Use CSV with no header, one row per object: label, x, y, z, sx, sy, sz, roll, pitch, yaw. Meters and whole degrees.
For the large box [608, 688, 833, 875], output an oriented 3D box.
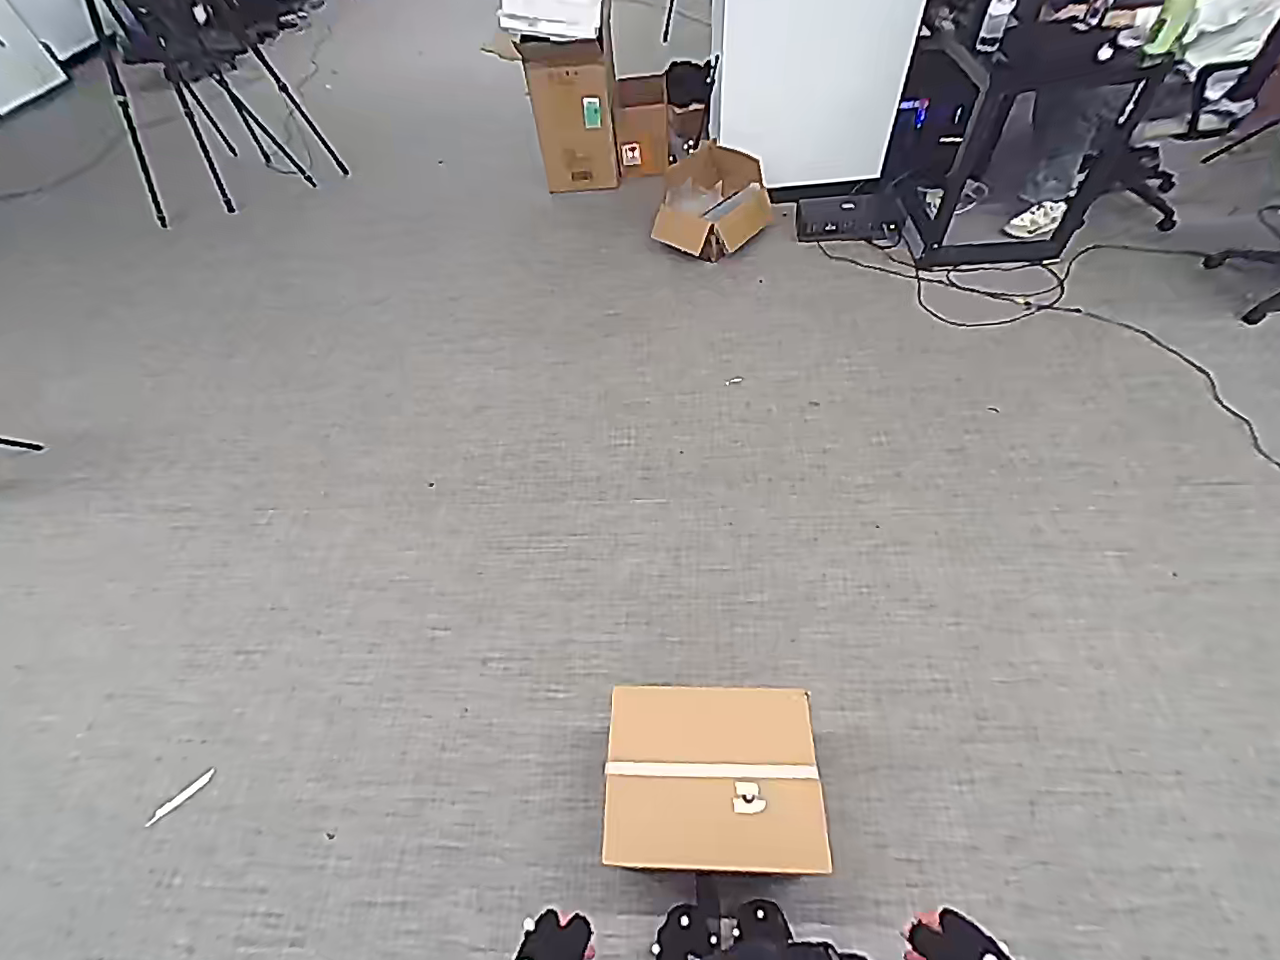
large box,0.150,0.649,1.157,0.408,0.320,0.320,-1,54,4
